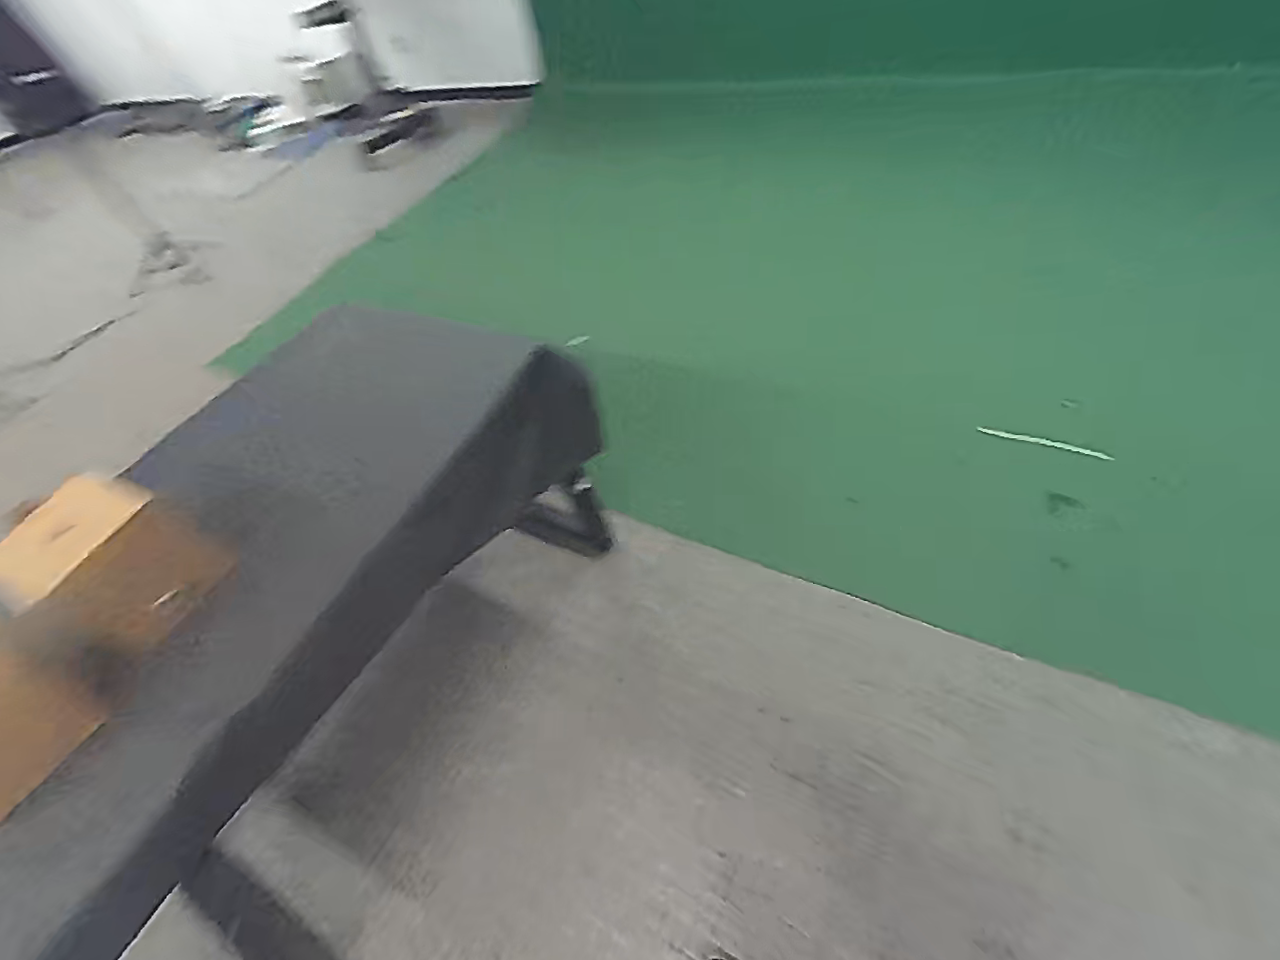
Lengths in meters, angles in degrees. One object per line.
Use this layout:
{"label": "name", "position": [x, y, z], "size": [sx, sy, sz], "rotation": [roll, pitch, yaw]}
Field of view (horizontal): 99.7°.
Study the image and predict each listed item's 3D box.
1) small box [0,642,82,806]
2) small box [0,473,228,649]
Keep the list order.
{"label": "small box", "position": [-0.832, 0.296, 0.640], "size": [0.168, 0.176, 0.179], "rotation": [24, 62, 27]}
{"label": "small box", "position": [-0.750, 0.117, 0.761], "size": [0.179, 0.176, 0.168], "rotation": [13, 59, 20]}
